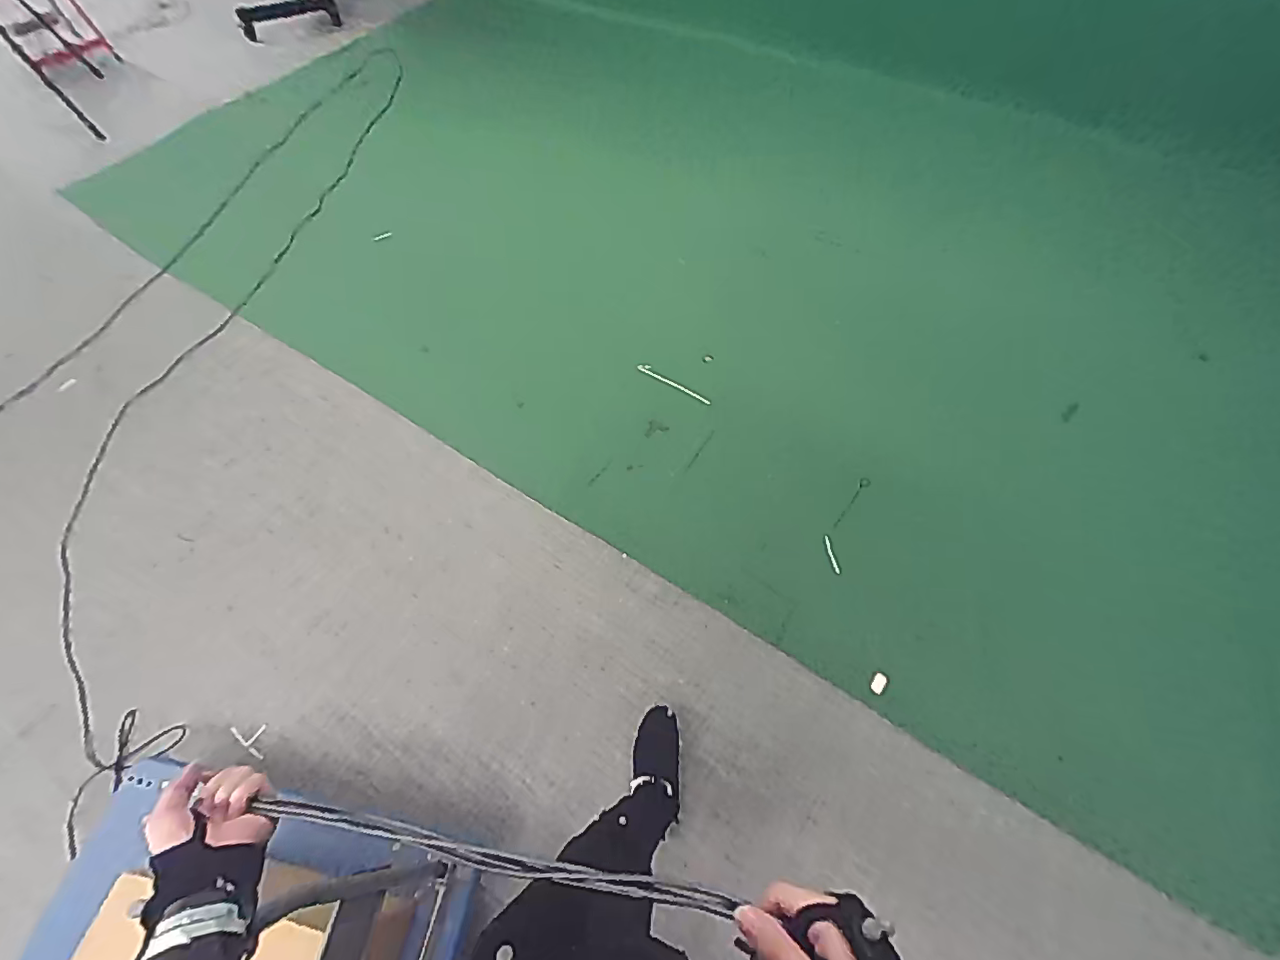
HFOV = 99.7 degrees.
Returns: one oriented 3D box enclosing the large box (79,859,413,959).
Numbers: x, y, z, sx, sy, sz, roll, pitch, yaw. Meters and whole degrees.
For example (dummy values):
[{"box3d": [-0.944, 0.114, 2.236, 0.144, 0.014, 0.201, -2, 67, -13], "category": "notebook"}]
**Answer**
[{"box3d": [-0.683, 0.890, 0.927, 0.408, 0.320, 0.320, 8, 60, 9], "category": "large box"}]
